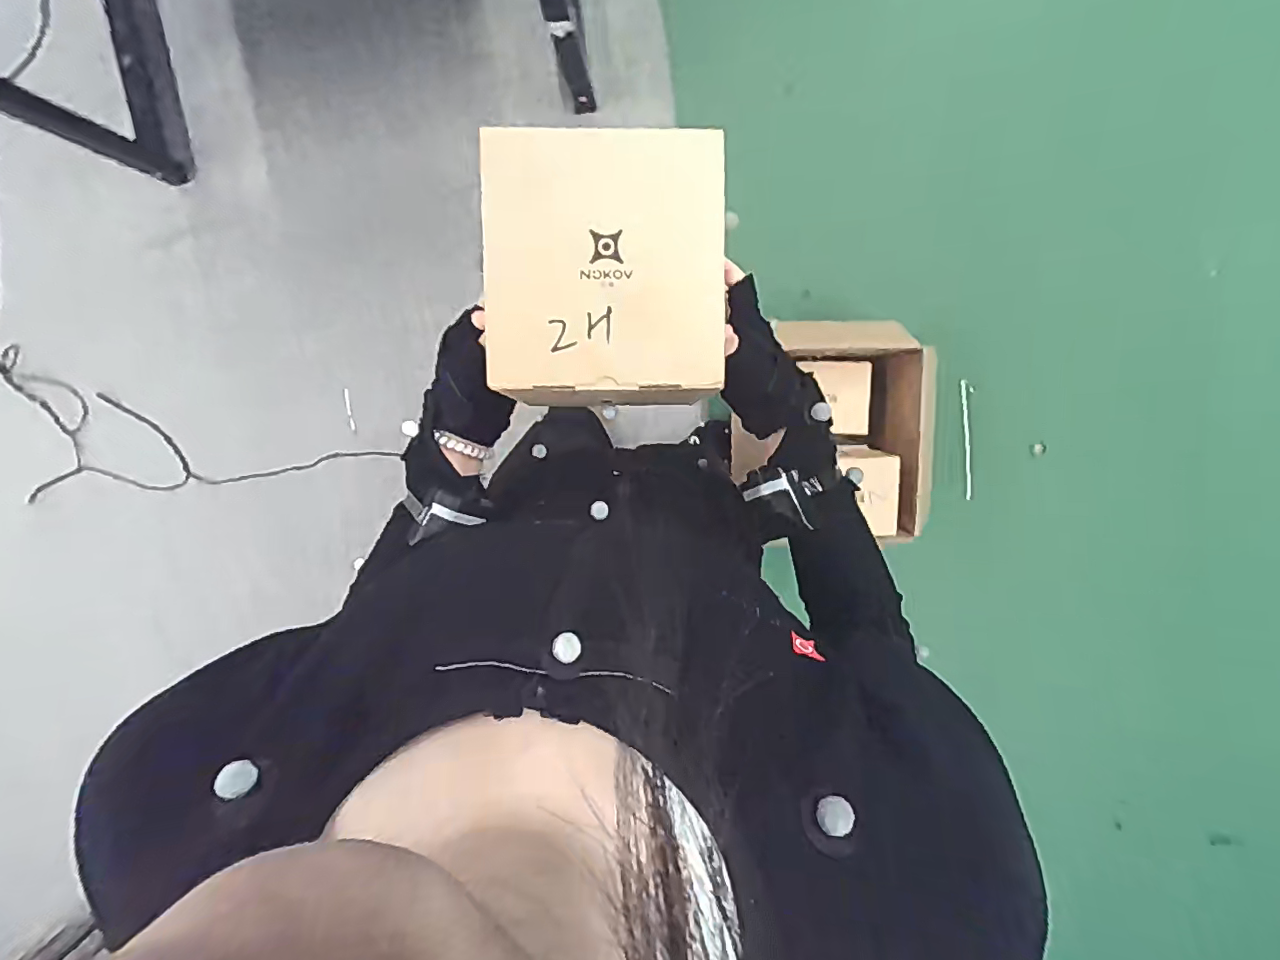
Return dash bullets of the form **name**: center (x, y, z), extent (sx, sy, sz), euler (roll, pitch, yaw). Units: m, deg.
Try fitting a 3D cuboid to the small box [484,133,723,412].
- **small box**: center (-0.028, -0.152, 0.451), extent (0.168, 0.176, 0.179), euler (-1, 93, -2)
